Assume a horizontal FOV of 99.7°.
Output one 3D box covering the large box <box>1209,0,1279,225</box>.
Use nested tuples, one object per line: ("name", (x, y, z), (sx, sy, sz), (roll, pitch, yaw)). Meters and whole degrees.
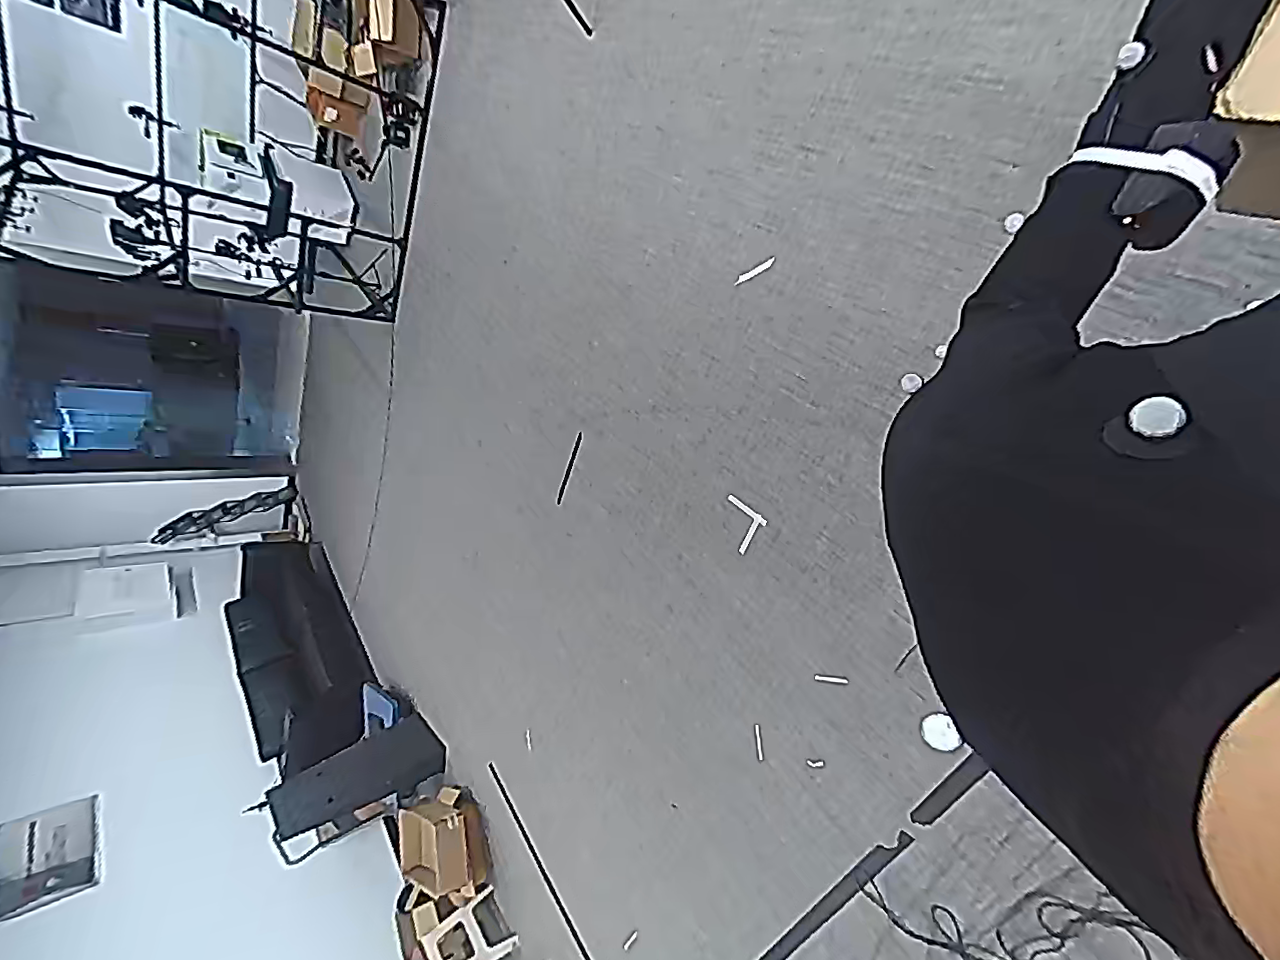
("large box", (0.669, -0.313, 0.303), (0.408, 0.320, 0.320), (36, 123, 37))
